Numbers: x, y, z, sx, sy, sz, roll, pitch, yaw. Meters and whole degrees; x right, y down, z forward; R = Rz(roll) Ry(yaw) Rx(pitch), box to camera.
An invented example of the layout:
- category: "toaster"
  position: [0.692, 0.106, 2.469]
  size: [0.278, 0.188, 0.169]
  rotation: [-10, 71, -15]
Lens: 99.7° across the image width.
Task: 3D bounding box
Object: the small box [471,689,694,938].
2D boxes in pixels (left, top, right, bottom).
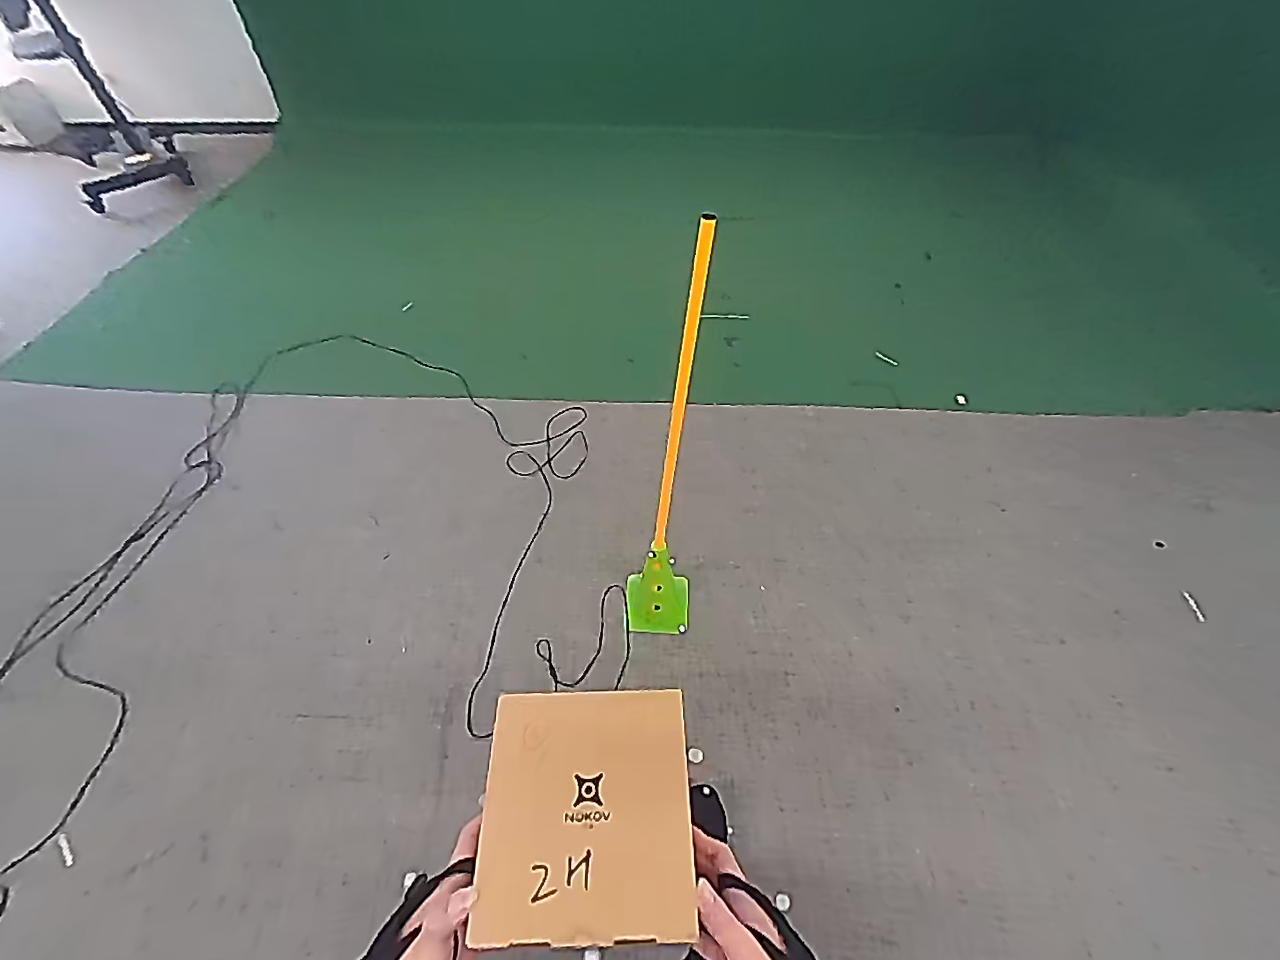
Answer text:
- category: "small box"
  position: [-0.042, 0.310, 0.504]
  size: [0.168, 0.176, 0.179]
  rotation: [-1, 52, 0]

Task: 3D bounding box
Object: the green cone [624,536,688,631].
- category: "green cone"
  position: [0.049, 0.279, 1.604]
  size: [0.202, 0.368, 0.200]
  rotation: [3, 51, 4]
